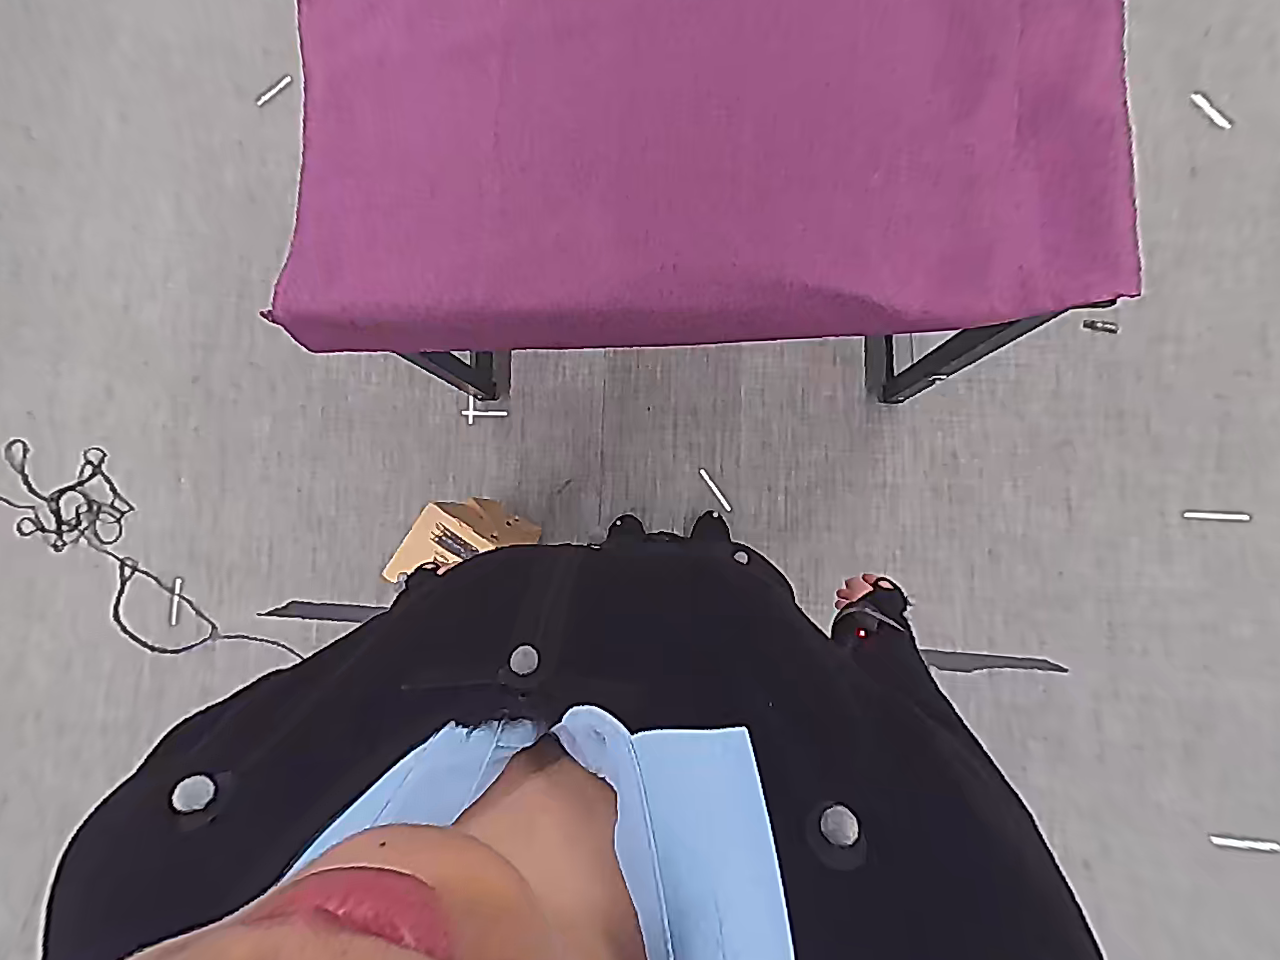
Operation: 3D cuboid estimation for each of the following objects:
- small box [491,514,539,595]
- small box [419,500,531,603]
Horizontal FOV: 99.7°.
[{"bbox_3d":[-0.391,0.188,1.457,0.168,0.176,0.179,24,88,6],"label":"small box"},{"bbox_3d":[-0.381,0.166,1.292,0.179,0.176,0.168,-44,83,0],"label":"small box"}]
